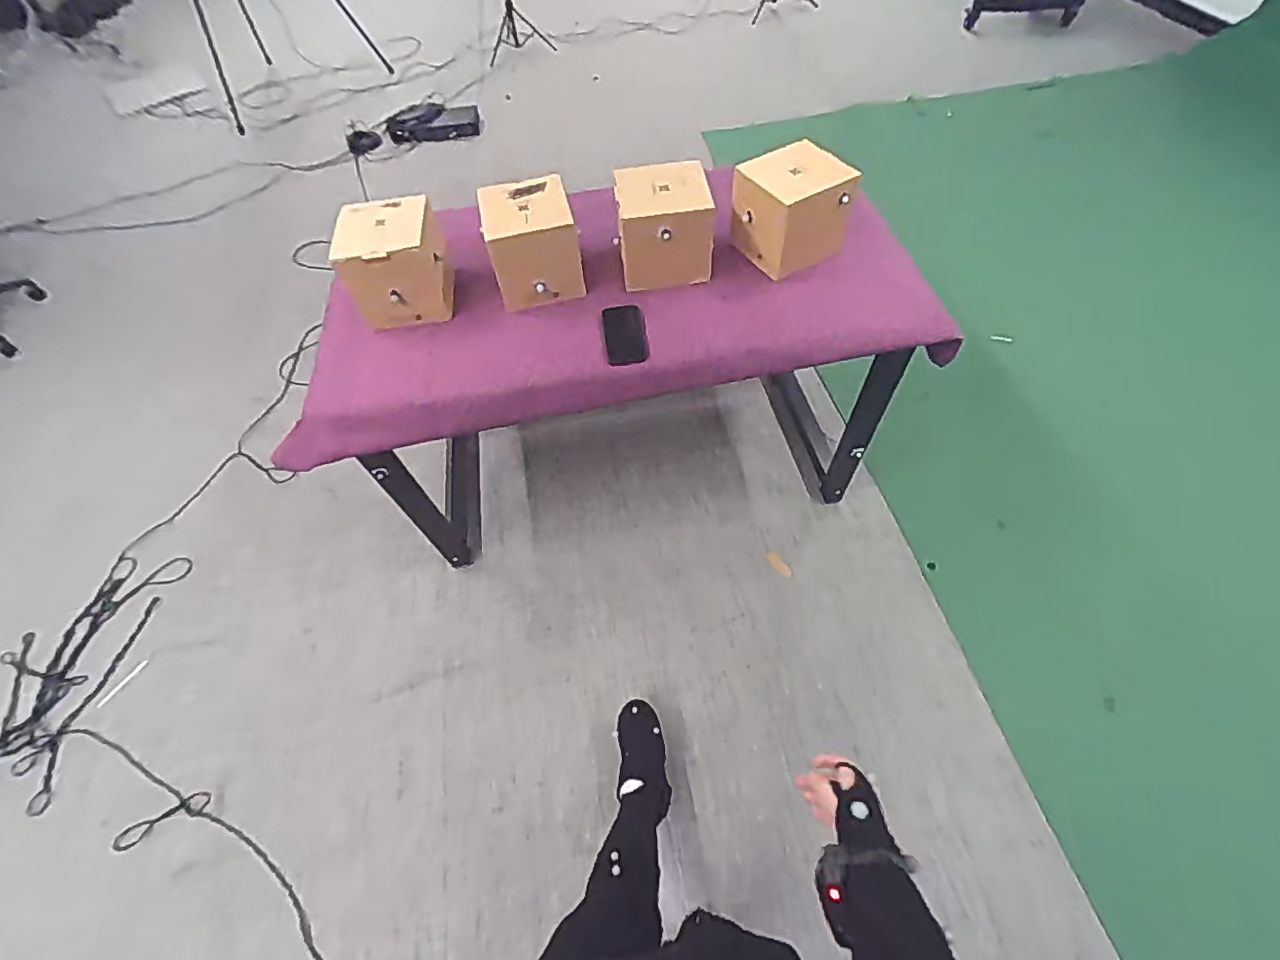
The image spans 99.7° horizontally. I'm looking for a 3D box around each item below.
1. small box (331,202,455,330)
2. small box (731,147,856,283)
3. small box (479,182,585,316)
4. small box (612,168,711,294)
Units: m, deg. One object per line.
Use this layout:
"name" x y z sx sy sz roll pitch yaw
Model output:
"small box" -0.478 -0.416 1.076 0.168 0.176 0.179 -9 58 -1
"small box" 0.300 -0.532 1.097 0.179 0.176 0.168 -28 59 -14
"small box" -0.214 -0.461 1.087 0.168 0.176 0.179 -13 58 -4
"small box" 0.044 -0.496 1.092 0.179 0.176 0.168 -7 58 0
